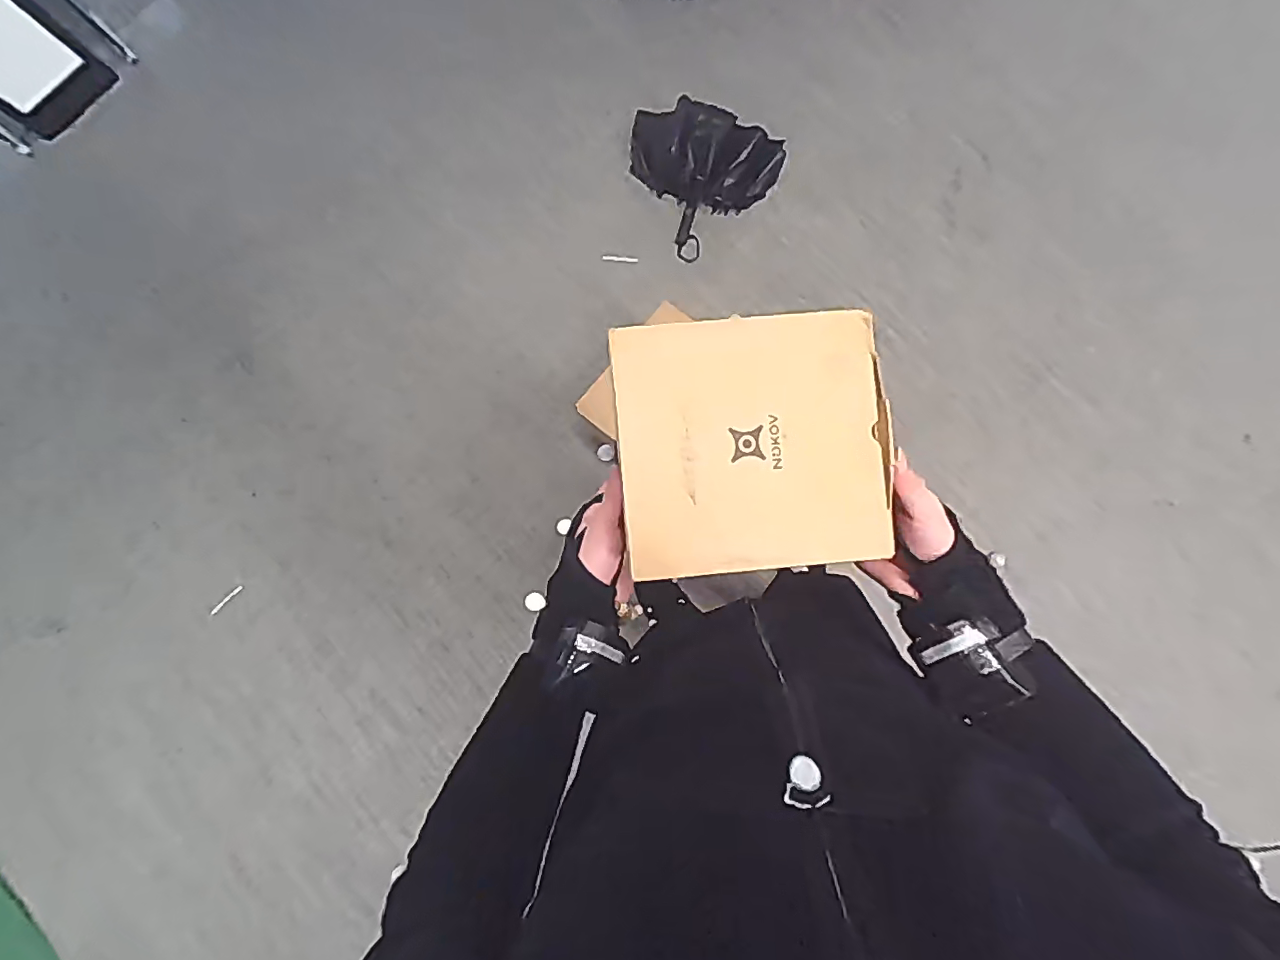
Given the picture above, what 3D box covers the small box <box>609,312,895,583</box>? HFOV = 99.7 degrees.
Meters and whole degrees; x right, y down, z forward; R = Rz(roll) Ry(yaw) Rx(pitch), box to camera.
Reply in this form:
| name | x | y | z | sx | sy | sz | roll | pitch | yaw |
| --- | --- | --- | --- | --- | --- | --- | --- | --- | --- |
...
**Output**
| name | x | y | z | sx | sy | sz | roll | pitch | yaw |
| --- | --- | --- | --- | --- | --- | --- | --- | --- | --- |
| small box | 0.071 | -0.021 | 0.431 | 0.179 | 0.176 | 0.168 | -6 | 88 | -1 |
